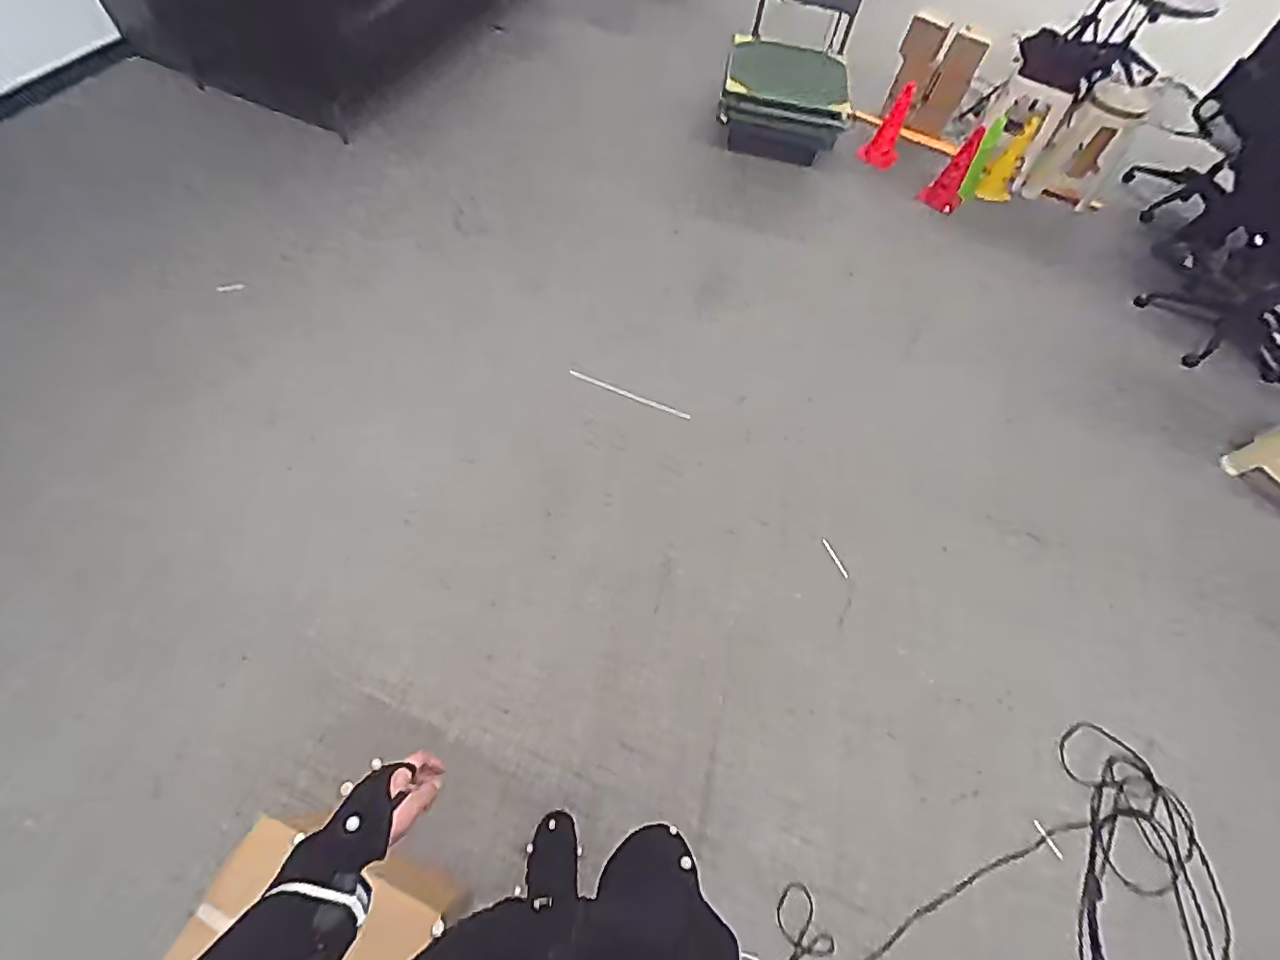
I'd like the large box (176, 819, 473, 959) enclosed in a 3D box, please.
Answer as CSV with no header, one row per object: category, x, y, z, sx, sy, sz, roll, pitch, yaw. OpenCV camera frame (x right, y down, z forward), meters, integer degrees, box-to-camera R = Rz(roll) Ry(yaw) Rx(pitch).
large box,-0.606,0.929,1.068,0.408,0.320,0.320,23,60,8
